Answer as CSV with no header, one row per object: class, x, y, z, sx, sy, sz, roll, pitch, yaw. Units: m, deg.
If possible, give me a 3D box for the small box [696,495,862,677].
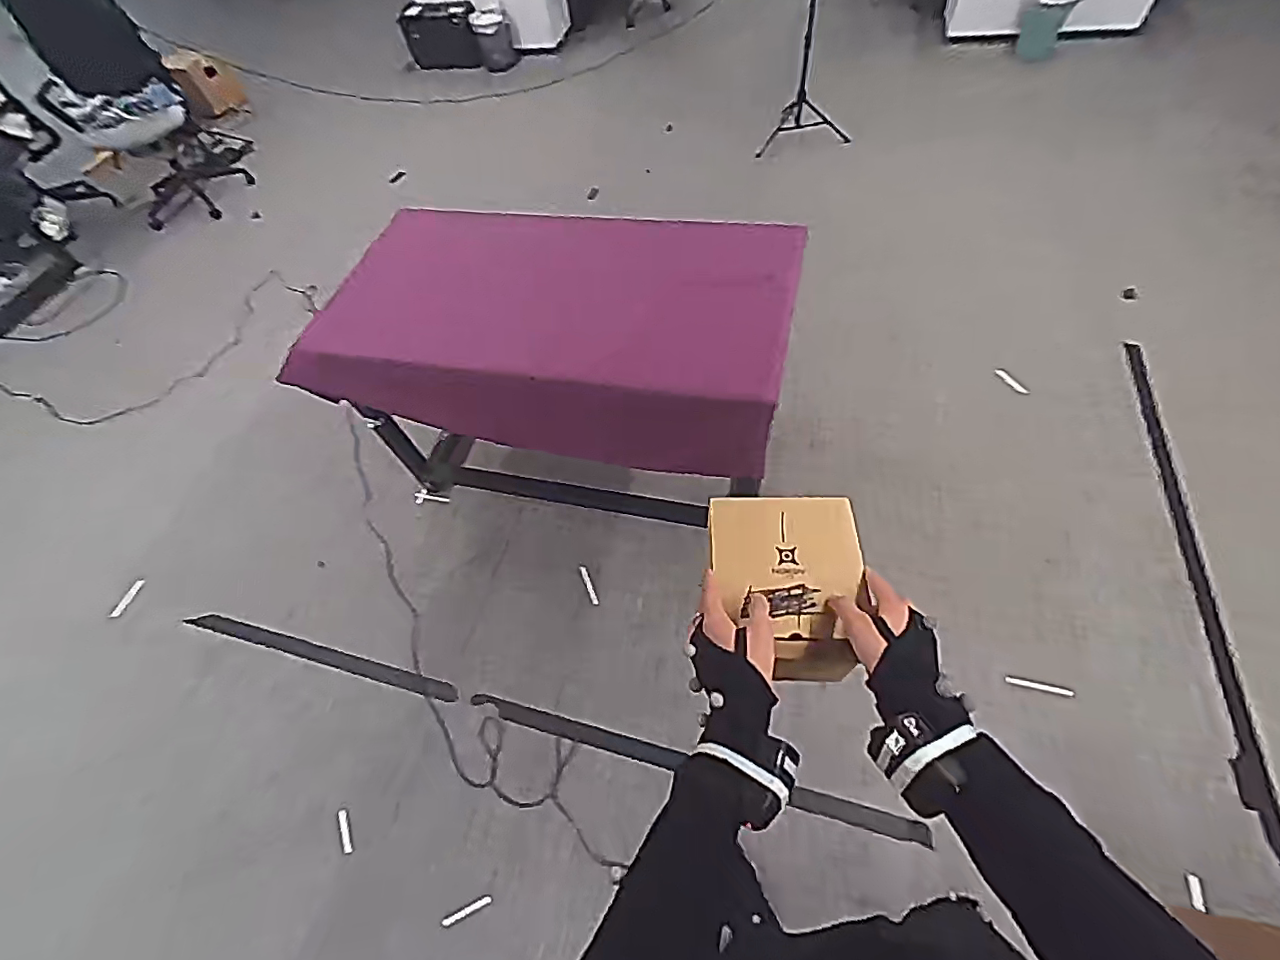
small box,0.155,0.137,0.664,0.168,0.176,0.179,-1,56,4
